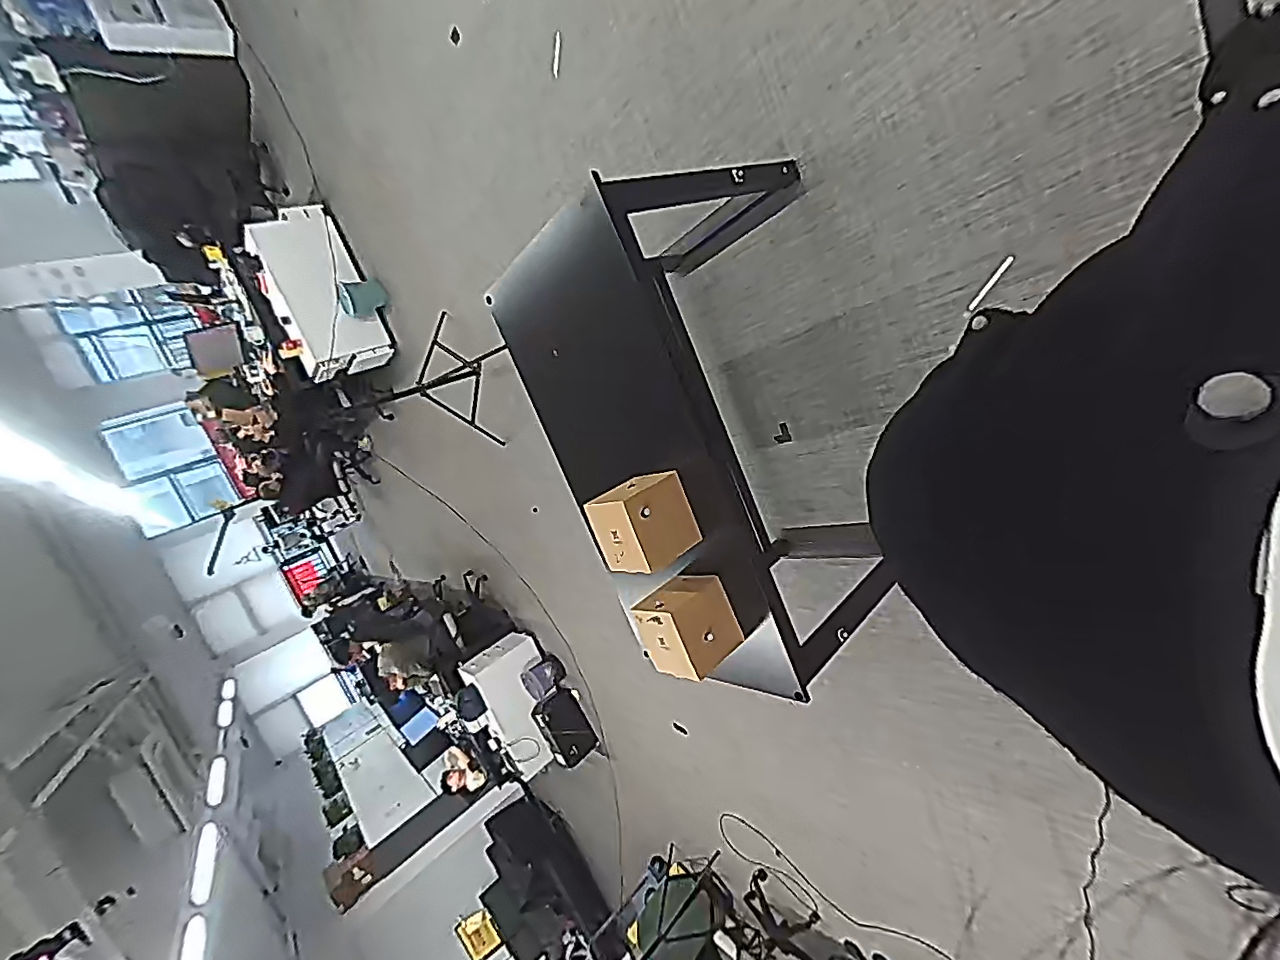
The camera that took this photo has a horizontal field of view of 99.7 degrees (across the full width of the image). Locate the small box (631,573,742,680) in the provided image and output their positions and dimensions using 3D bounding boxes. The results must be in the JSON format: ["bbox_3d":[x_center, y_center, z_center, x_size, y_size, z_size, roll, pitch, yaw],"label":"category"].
[{"bbox_3d":[0.114,0.342,1.293,0.168,0.176,0.179,-14,102,54],"label":"small box"}]

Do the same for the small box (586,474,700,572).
[{"bbox_3d":[0.009,0.094,1.252,0.168,0.176,0.179,-8,107,54],"label":"small box"}]
